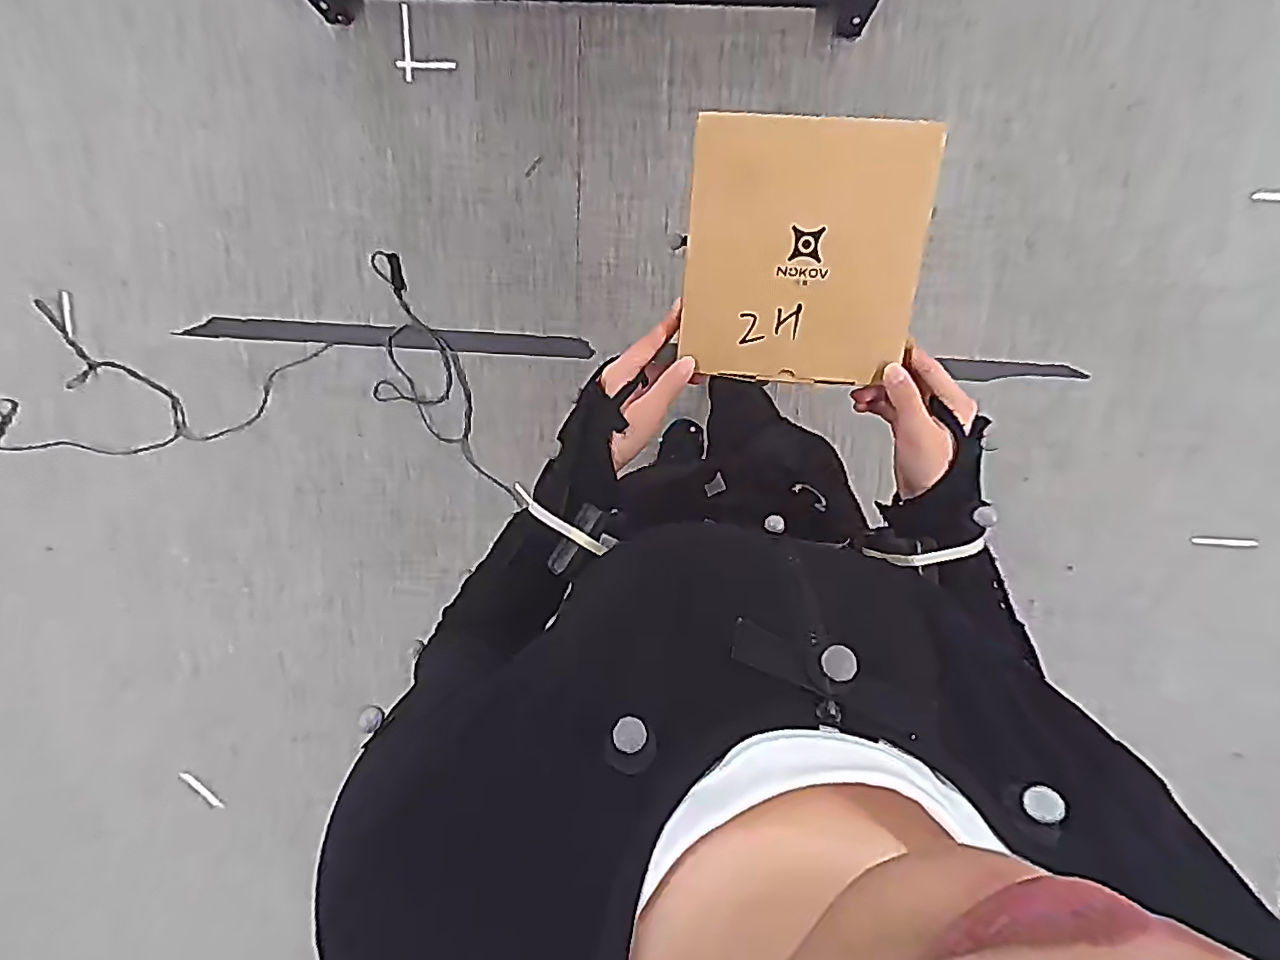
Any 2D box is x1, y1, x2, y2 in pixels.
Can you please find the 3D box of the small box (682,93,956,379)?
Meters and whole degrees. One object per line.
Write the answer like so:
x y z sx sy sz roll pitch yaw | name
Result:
0.124 -0.186 0.452 0.168 0.176 0.179 5 107 4 | small box
